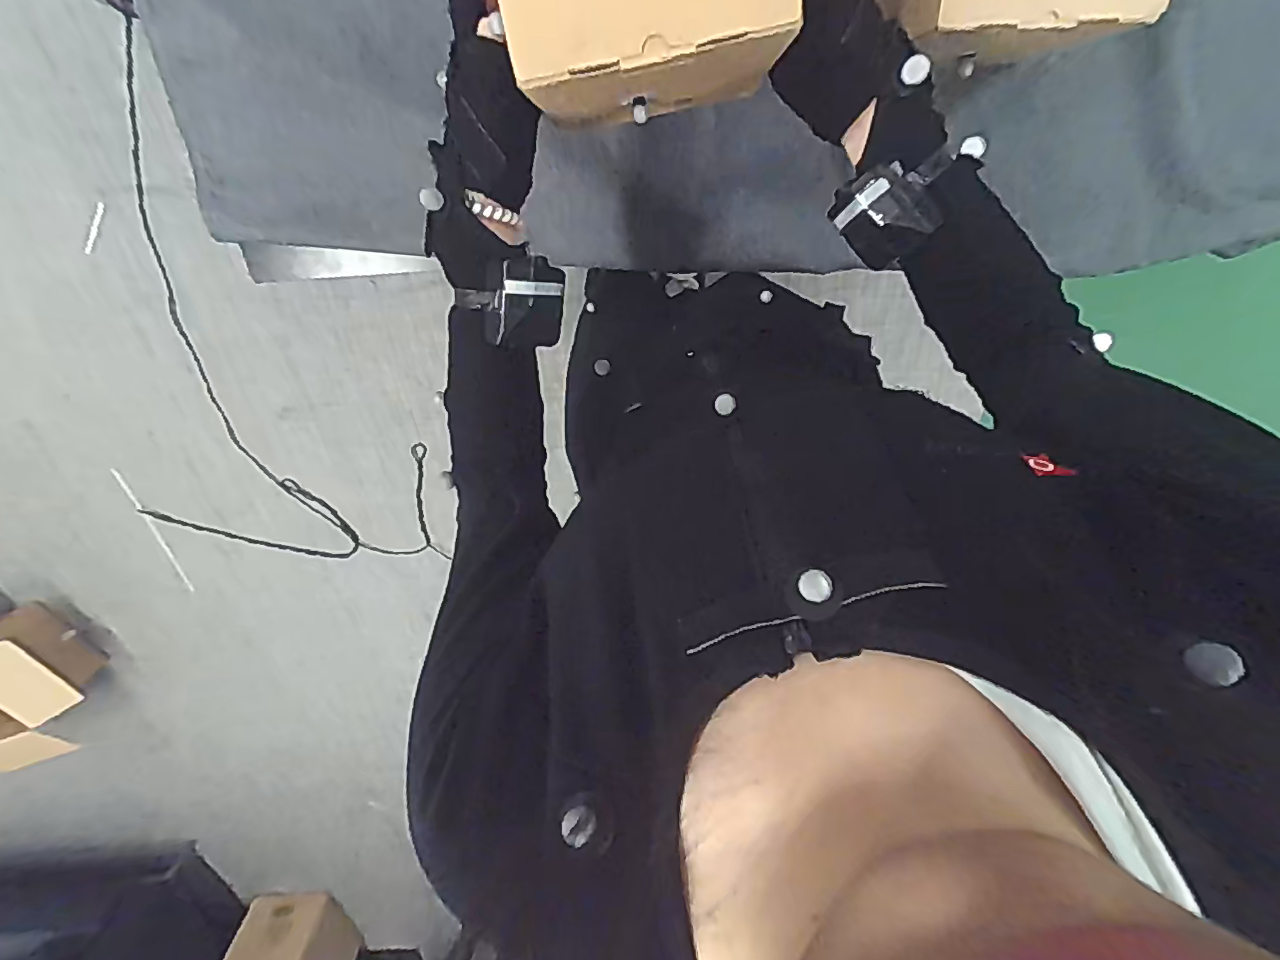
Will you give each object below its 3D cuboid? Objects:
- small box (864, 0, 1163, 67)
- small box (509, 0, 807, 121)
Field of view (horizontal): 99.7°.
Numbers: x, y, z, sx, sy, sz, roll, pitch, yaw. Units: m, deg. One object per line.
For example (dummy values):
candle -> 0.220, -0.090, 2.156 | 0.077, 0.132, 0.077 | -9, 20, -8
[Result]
small box -> 0.296, -0.451, 0.427 | 0.168, 0.176, 0.179 | -1, 120, 1
small box -> 0.000, -0.354, 0.343 | 0.168, 0.176, 0.179 | -9, 117, 5
